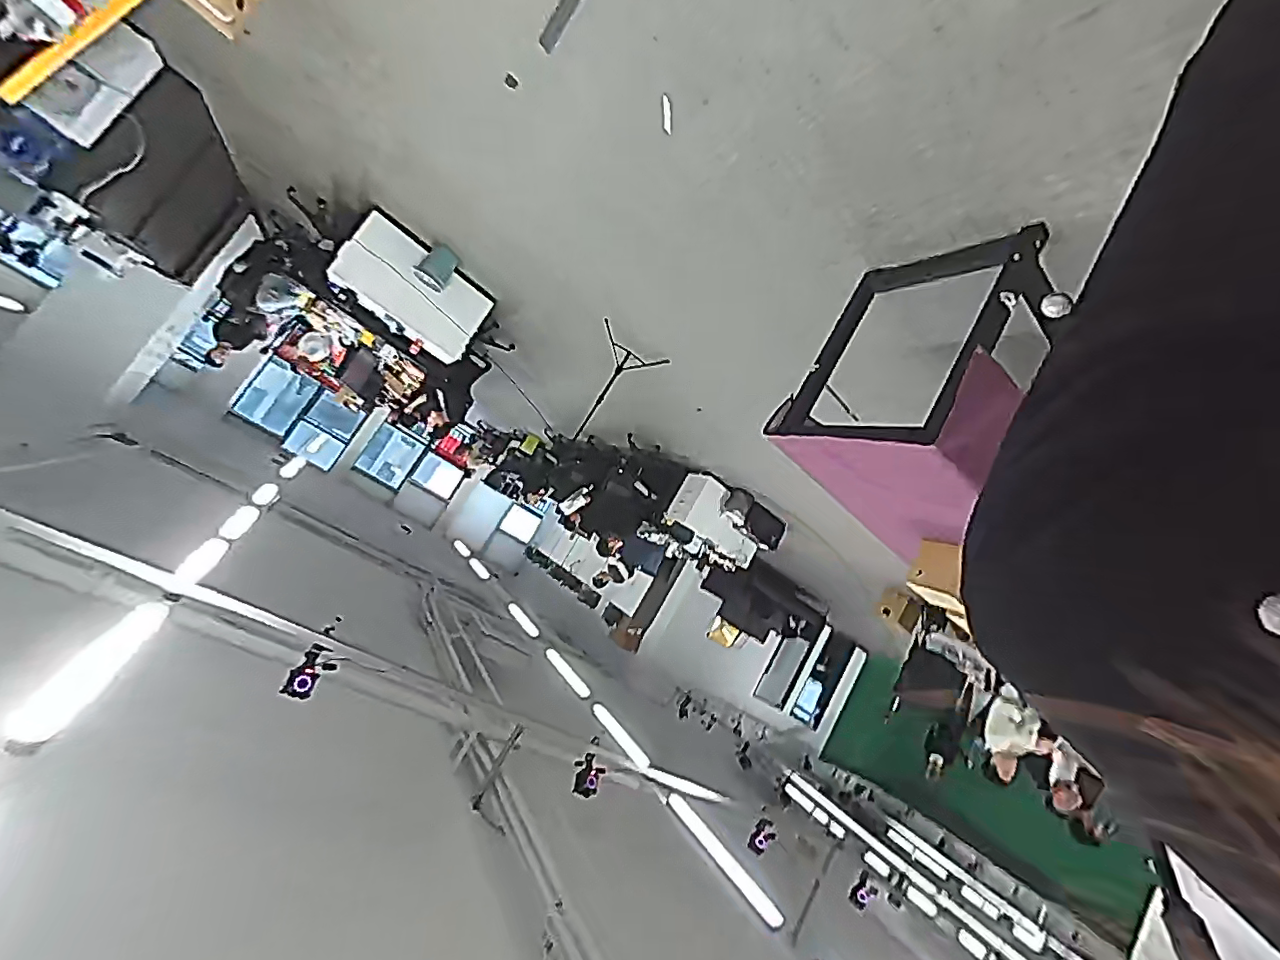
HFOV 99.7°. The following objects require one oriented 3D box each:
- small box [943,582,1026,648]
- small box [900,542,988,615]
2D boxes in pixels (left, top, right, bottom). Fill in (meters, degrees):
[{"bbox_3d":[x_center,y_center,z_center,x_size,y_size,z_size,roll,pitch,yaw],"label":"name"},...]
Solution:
[{"bbox_3d":[1.237,0.467,1.931,0.168,0.176,0.179,35,170,-19],"label":"small box"},{"bbox_3d":[1.039,0.330,1.844,0.168,0.176,0.179,35,169,-23],"label":"small box"}]
